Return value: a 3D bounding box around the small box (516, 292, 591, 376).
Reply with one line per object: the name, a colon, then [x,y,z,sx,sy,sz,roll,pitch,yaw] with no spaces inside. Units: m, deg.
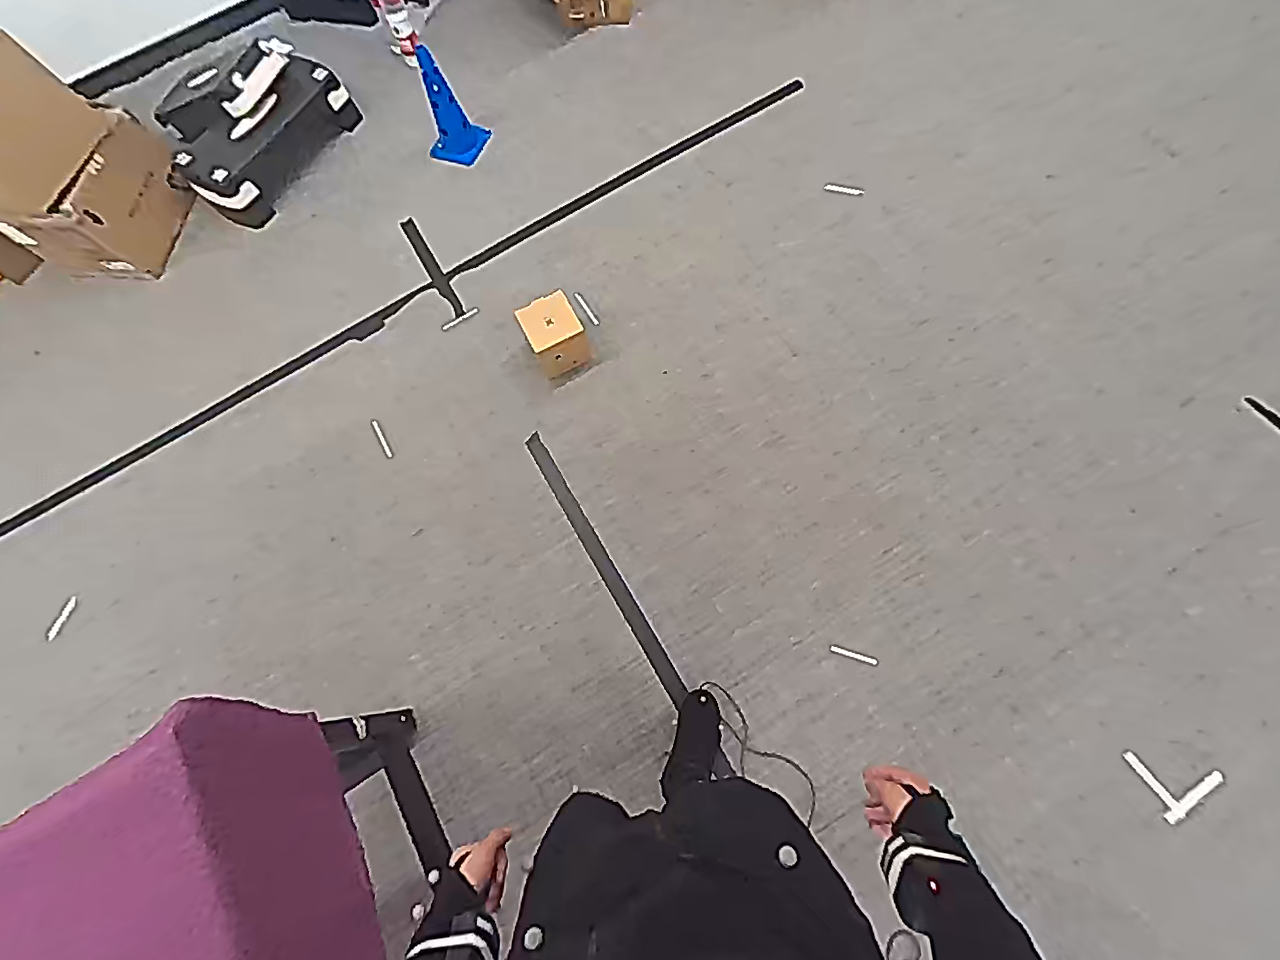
small box: [-0.271,-0.458,1.732,0.168,0.176,0.179,-27,70,-5]
